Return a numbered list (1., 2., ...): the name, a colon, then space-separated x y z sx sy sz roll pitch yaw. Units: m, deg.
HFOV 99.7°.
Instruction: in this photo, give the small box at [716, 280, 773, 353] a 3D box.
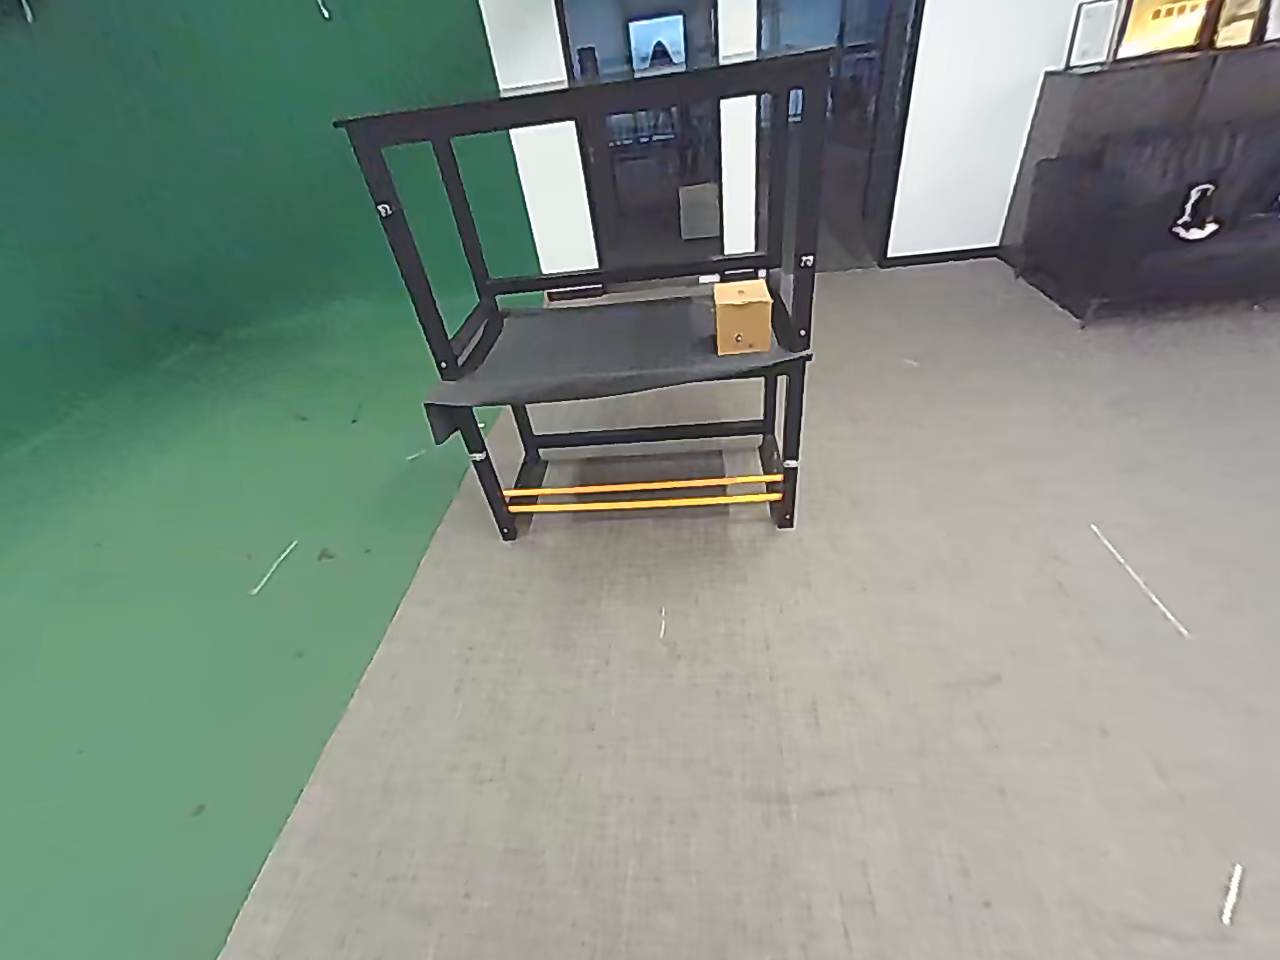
1. small box: 0.328 -0.519 1.718 0.168 0.176 0.179 -4 38 7
